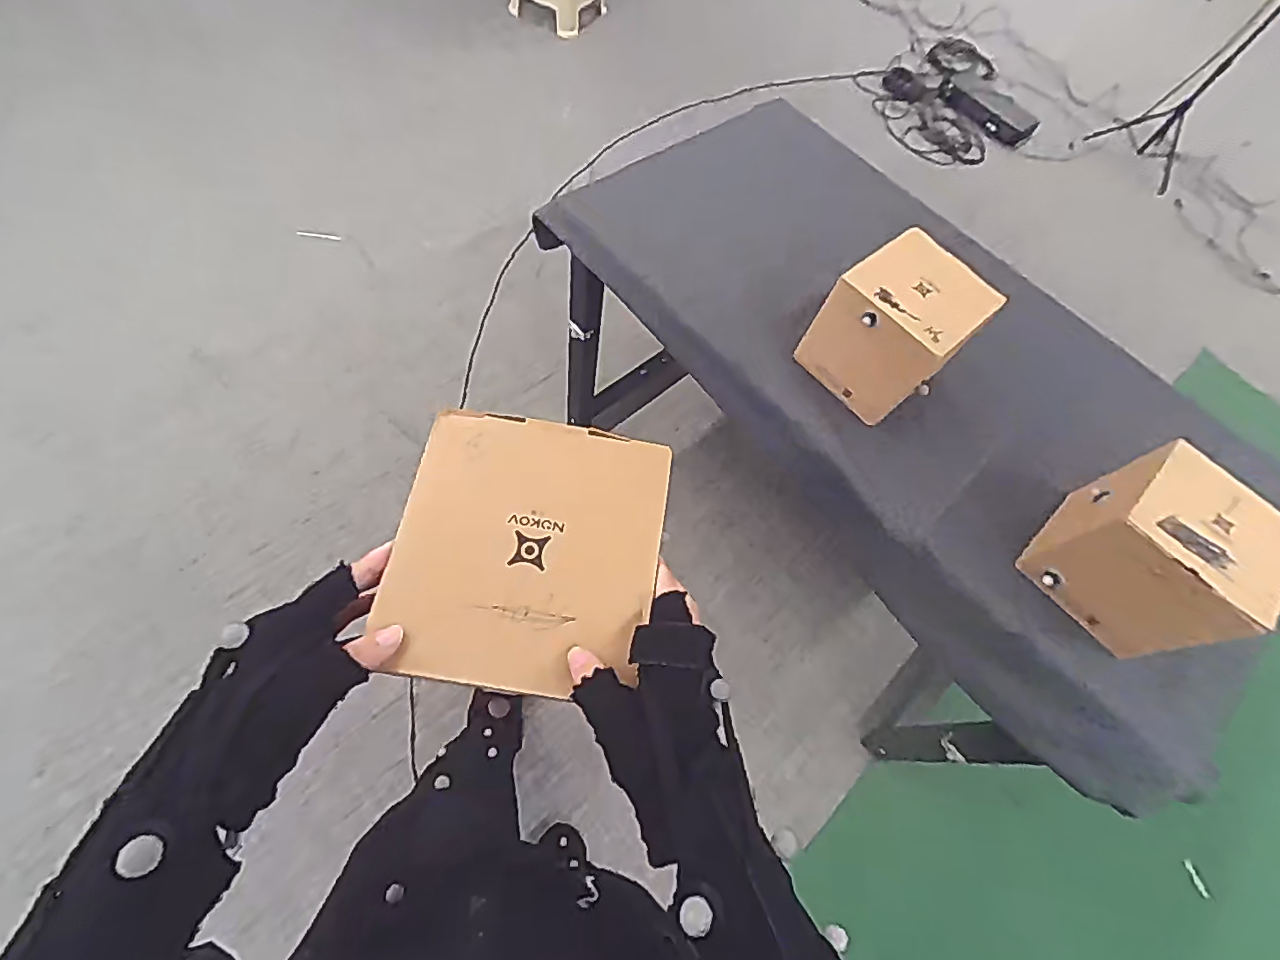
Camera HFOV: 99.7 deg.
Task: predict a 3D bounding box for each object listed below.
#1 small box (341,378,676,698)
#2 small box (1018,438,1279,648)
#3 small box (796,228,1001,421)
[{"bbox_3d":[-0.078,0.055,0.401,0.168,0.176,0.179,11,68,-1],"label":"small box"},{"bbox_3d":[0.630,0.087,0.681,0.179,0.176,0.168,-36,74,-24],"label":"small box"},{"bbox_3d":[0.362,-0.221,0.788,0.179,0.176,0.168,-36,75,-23],"label":"small box"}]
